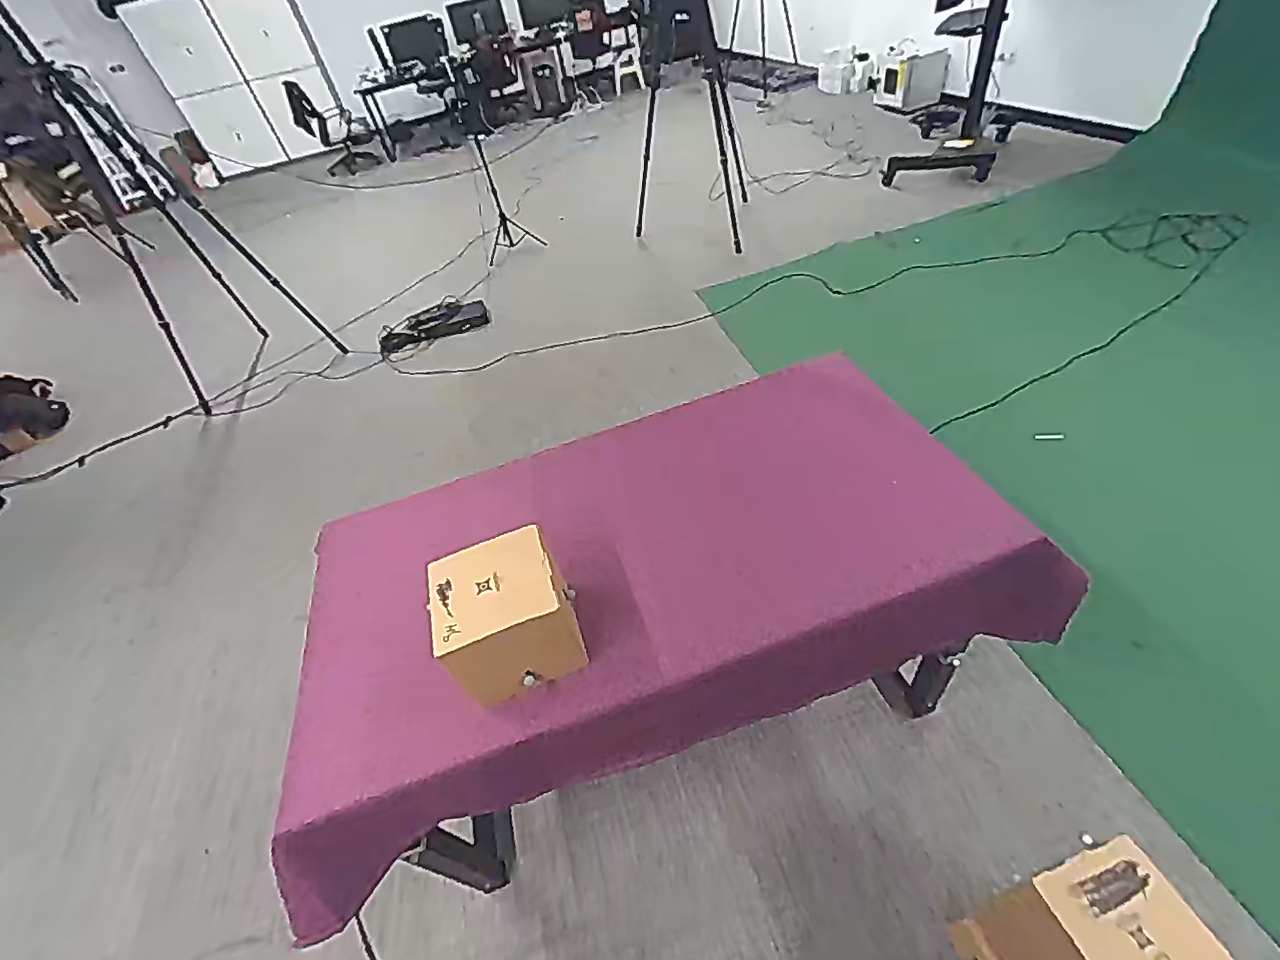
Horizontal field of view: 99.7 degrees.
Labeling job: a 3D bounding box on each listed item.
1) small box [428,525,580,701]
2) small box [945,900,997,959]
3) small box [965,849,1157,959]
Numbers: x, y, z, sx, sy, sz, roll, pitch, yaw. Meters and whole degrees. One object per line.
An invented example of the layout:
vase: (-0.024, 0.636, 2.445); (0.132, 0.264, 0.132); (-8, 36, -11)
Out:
small box: (-0.200, 0.204, 0.822); (0.179, 0.176, 0.168); (-20, 45, -7)
small box: (0.702, 0.863, 1.005); (0.179, 0.176, 0.168); (-20, 46, -7)
small box: (0.683, 0.749, 0.890); (0.168, 0.176, 0.179); (-18, 45, -6)
